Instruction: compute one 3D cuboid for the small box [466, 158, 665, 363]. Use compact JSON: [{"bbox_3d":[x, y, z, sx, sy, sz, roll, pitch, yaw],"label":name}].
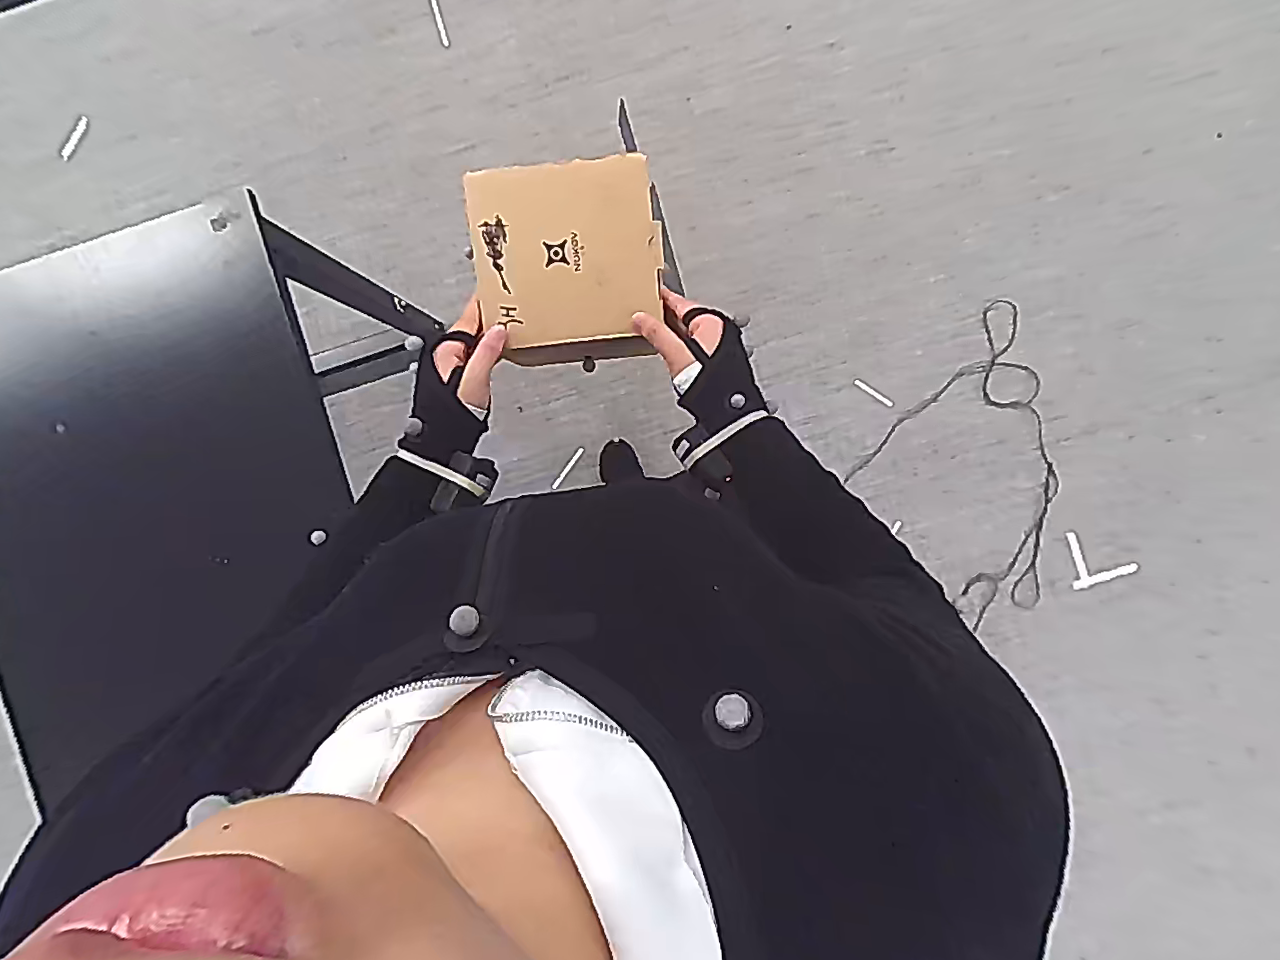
[{"bbox_3d":[-0.072,-0.223,0.590,0.179,0.176,0.168,-5,96,-1],"label":"small box"}]
